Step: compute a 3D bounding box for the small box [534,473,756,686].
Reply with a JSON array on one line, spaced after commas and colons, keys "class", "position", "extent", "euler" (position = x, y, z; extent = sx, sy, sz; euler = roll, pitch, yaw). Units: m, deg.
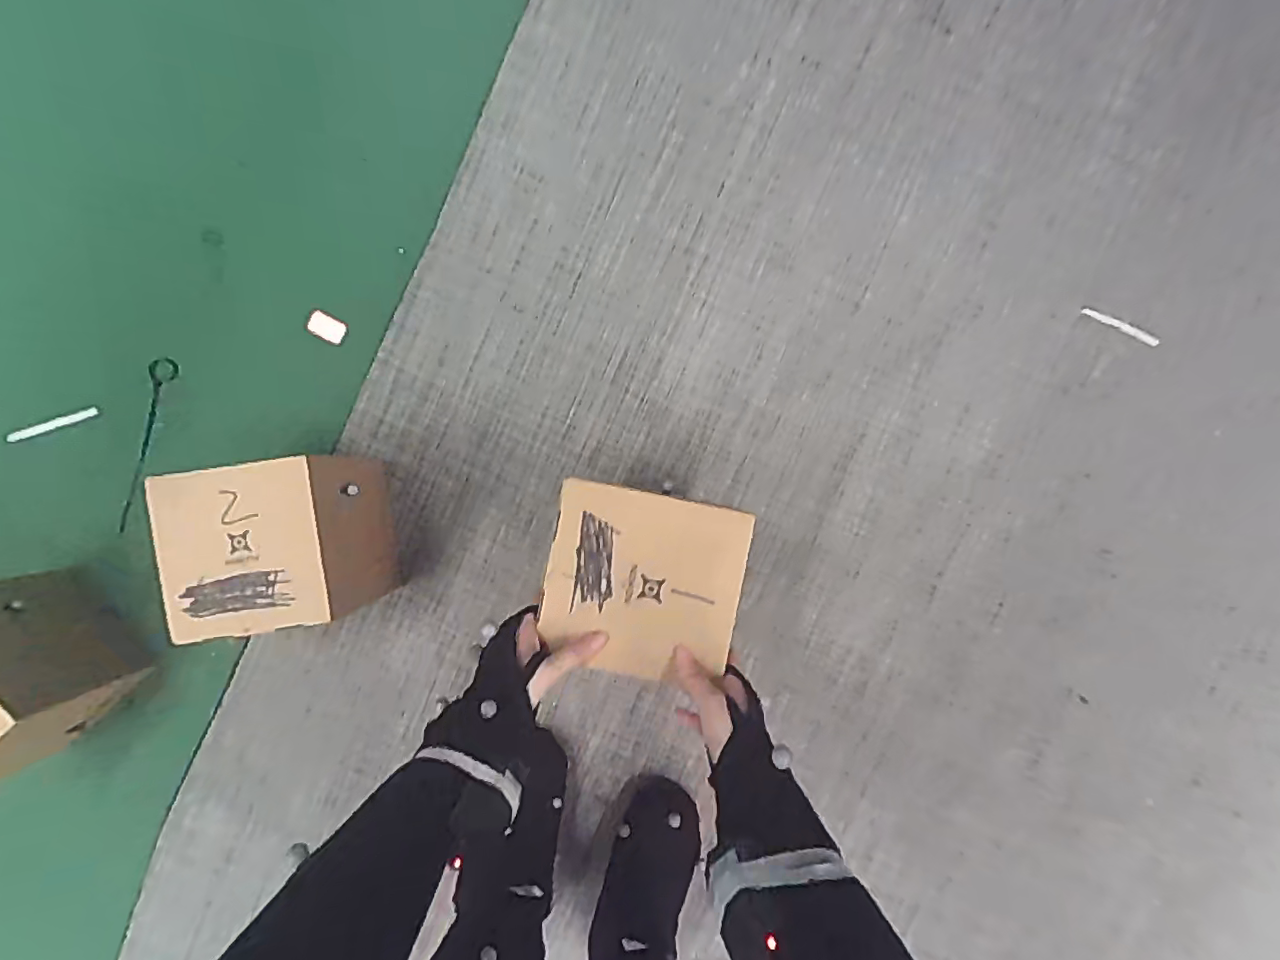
[{"class": "small box", "position": [0.005, 0.092, 0.570], "extent": [0.179, 0.176, 0.168], "euler": [12, 90, 0]}]

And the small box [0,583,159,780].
[{"class": "small box", "position": [-0.746, 0.239, 0.634], "extent": [0.168, 0.176, 0.179], "euler": [-43, 91, 0]}]
